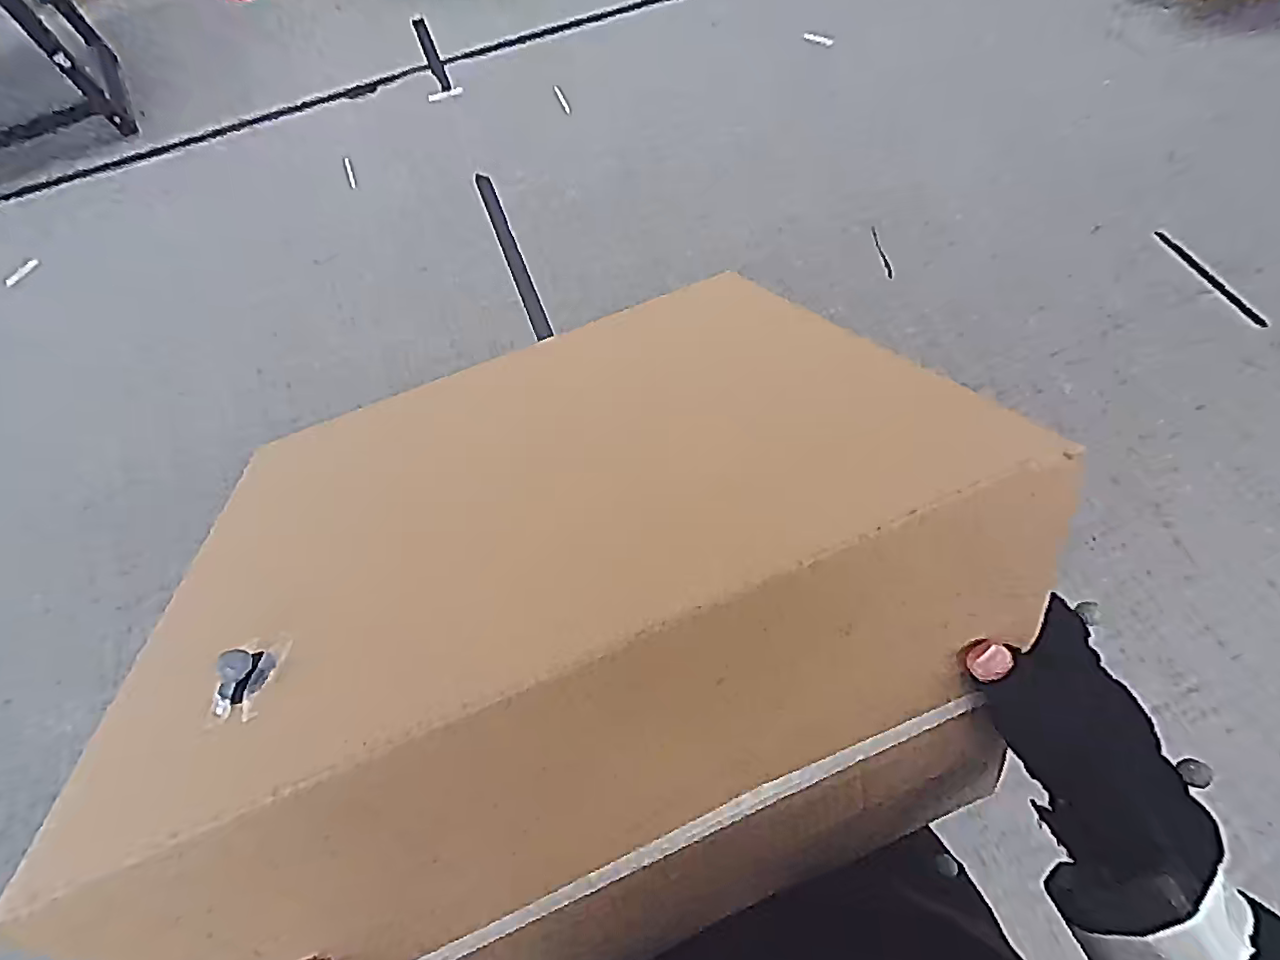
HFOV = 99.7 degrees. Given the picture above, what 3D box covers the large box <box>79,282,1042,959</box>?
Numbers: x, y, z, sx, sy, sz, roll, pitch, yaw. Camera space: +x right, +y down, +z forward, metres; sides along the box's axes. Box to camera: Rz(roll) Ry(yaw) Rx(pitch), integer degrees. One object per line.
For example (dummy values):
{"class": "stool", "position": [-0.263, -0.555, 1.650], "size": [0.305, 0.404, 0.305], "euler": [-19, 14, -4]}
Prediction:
{"class": "large box", "position": [-0.022, 0.096, 0.409], "size": [0.408, 0.320, 0.320], "euler": [-22, 37, -5]}
